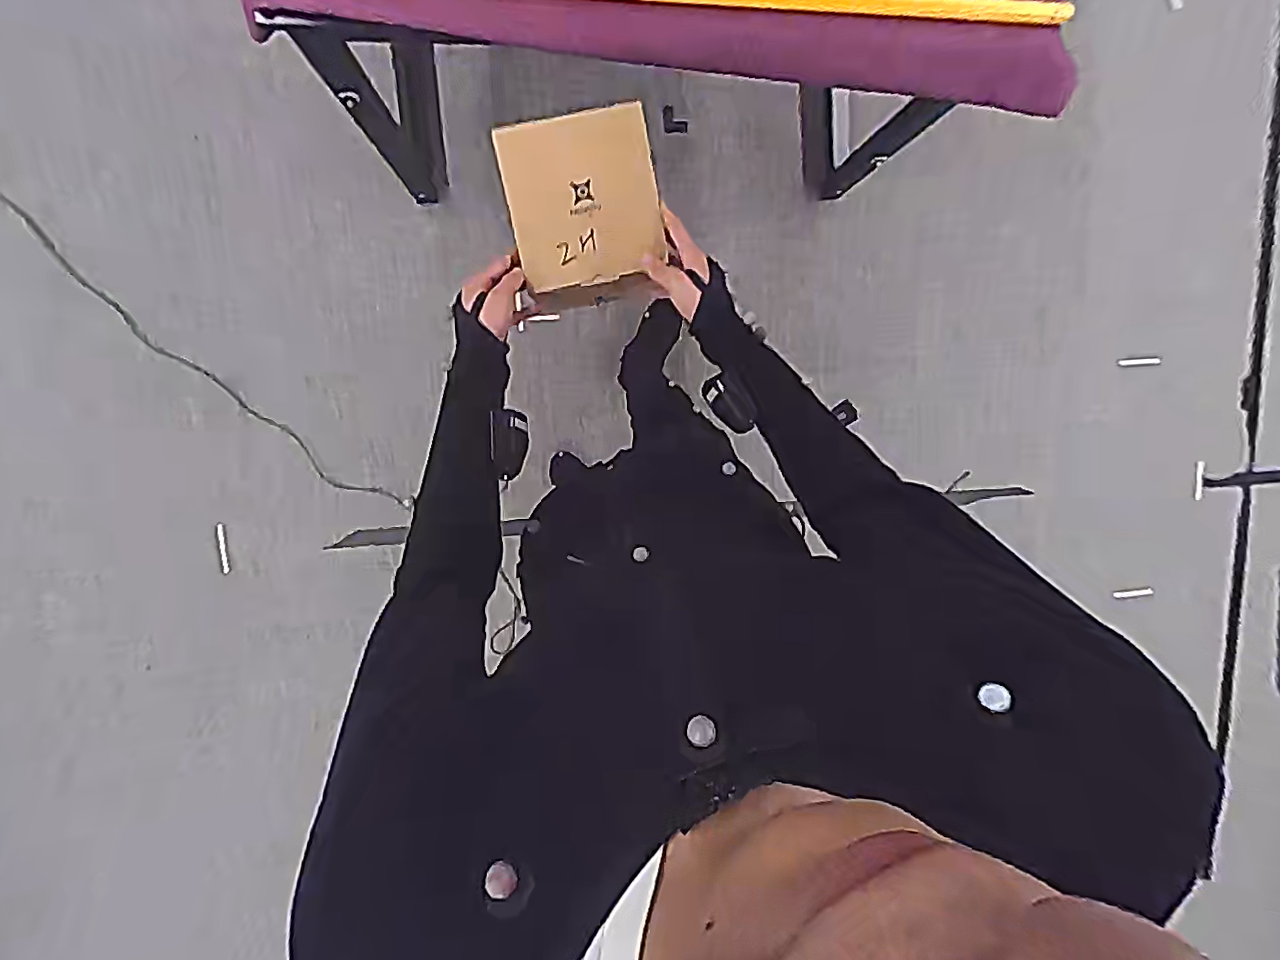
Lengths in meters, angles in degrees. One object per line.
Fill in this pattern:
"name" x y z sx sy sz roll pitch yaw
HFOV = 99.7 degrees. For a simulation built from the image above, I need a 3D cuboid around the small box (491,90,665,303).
"small box" -0.070 -0.332 0.668 0.168 0.176 0.179 -11 101 -1
